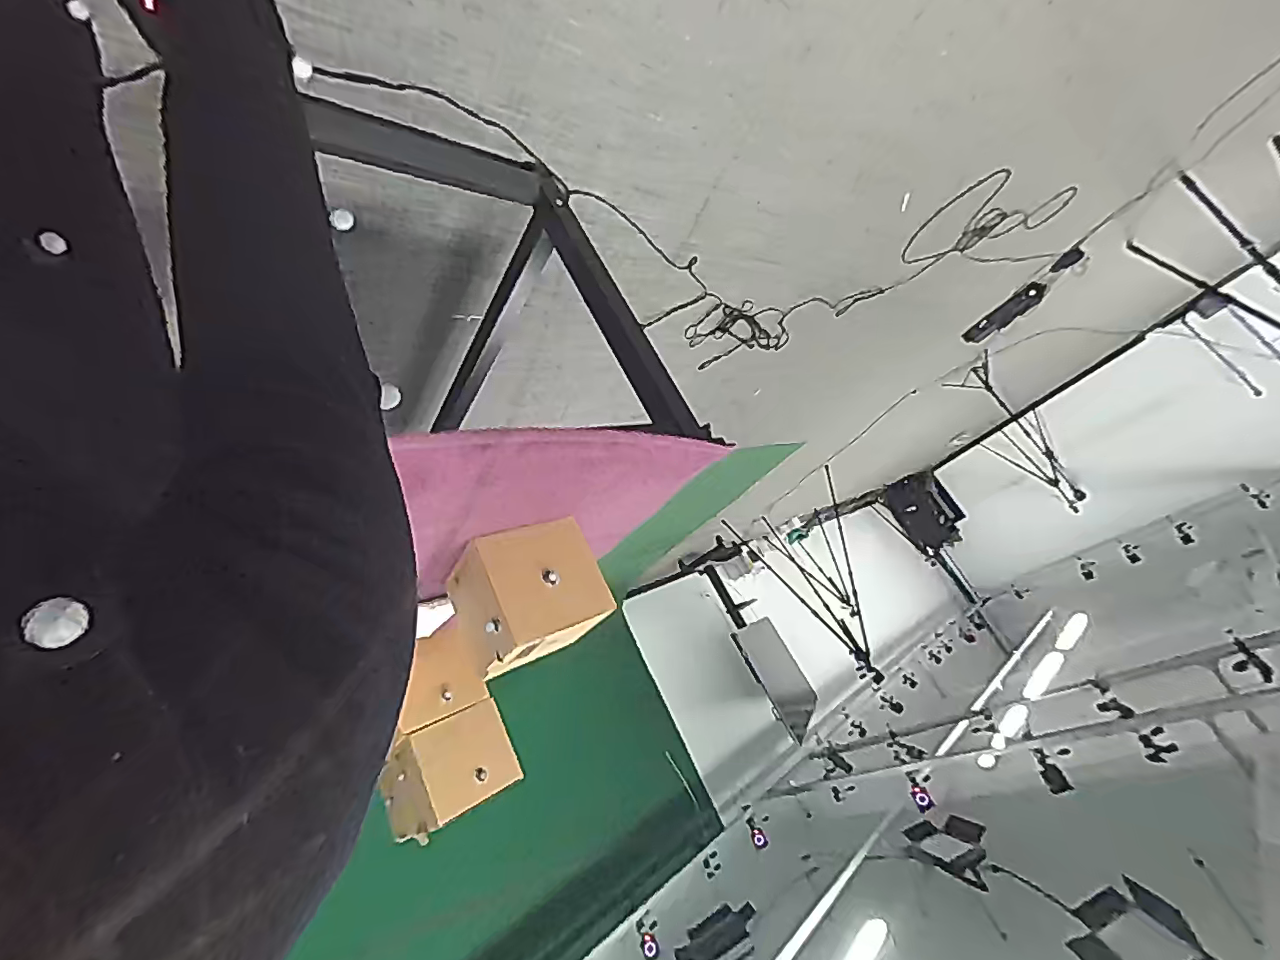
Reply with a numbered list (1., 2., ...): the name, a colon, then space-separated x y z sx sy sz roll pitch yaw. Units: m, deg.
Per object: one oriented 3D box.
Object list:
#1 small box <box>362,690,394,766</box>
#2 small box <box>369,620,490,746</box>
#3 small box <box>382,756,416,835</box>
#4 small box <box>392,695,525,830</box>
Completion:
1. small box: -0.579 0.584 1.364 0.179 0.176 0.168 -10 154 -43
2. small box: -0.444 0.417 1.125 0.179 0.176 0.168 -12 156 -41
3. small box: -0.503 0.717 1.307 0.179 0.176 0.168 -9 154 -43
4. small box: -0.366 0.555 1.079 0.179 0.176 0.168 -10 154 -44
